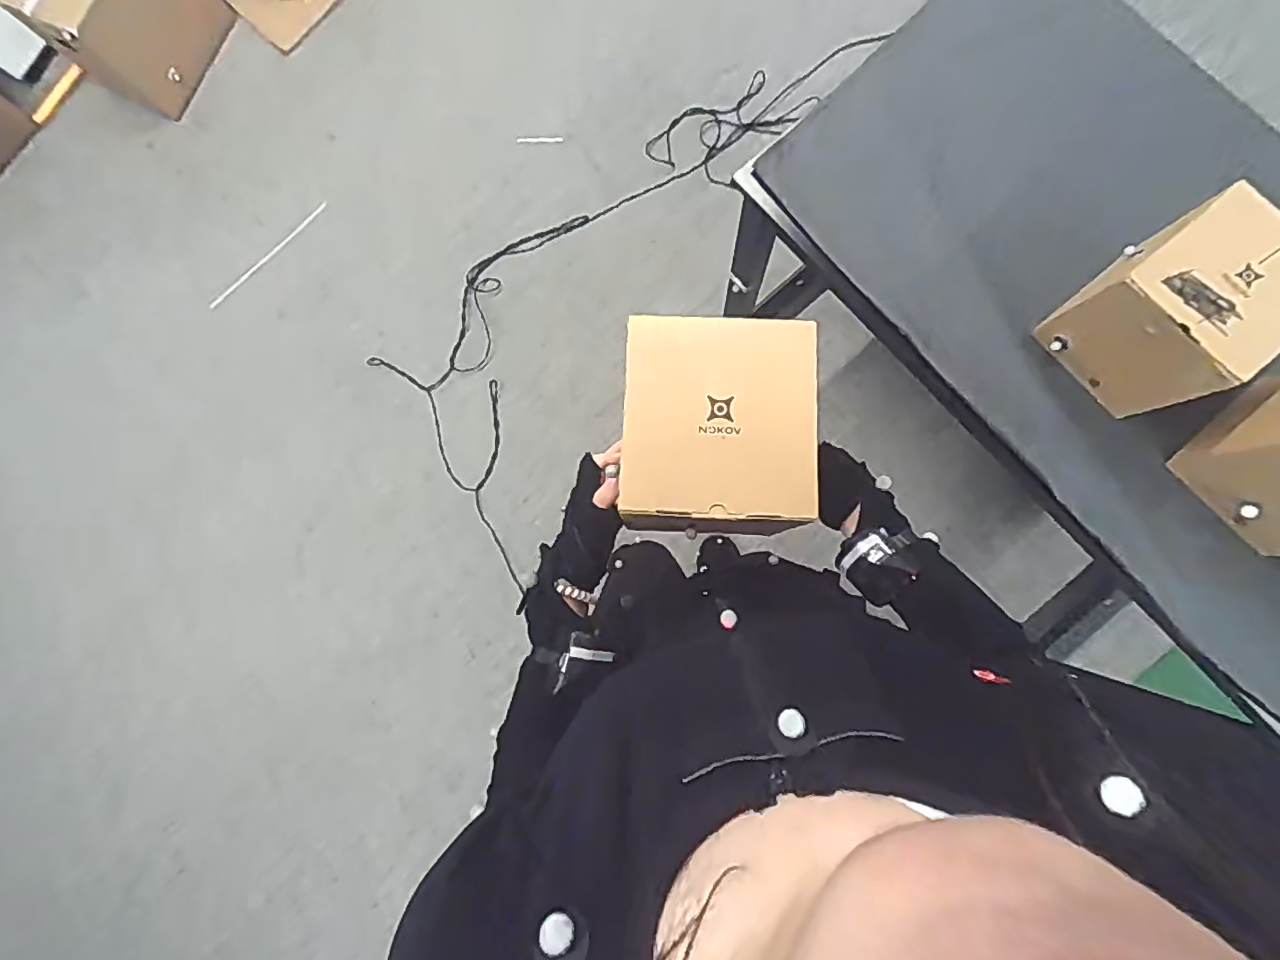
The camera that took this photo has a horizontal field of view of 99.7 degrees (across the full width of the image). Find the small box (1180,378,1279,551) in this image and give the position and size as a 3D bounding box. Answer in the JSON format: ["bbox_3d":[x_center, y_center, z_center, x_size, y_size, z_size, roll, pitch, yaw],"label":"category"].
[{"bbox_3d":[0.819,-0.029,0.633,0.179,0.176,0.168,-42,82,-1],"label":"small box"}]

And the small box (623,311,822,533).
[{"bbox_3d":[0.070,-0.044,0.531,0.168,0.176,0.179,2,81,1],"label":"small box"}]

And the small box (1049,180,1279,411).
[{"bbox_3d":[0.660,-0.209,0.666,0.179,0.176,0.168,-40,83,-2],"label":"small box"}]
